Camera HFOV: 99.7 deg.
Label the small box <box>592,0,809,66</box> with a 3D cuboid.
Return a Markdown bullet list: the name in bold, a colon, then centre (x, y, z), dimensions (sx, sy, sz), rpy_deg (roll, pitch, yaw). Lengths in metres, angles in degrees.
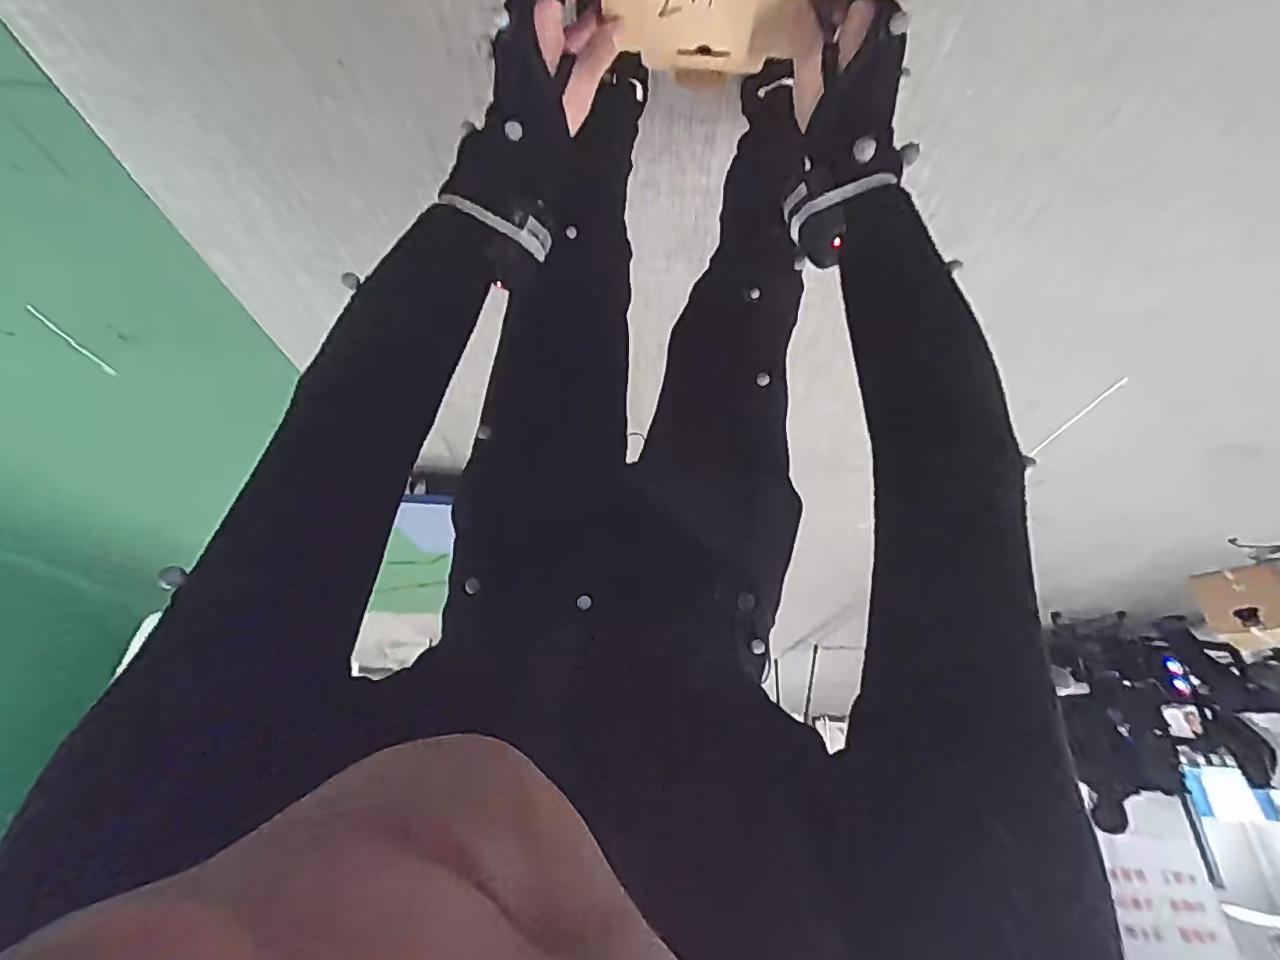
- **small box**: centre (0.059, -0.462, 0.402), dimensions (0.168, 0.176, 0.179), rpy_deg (8, 153, -4)
